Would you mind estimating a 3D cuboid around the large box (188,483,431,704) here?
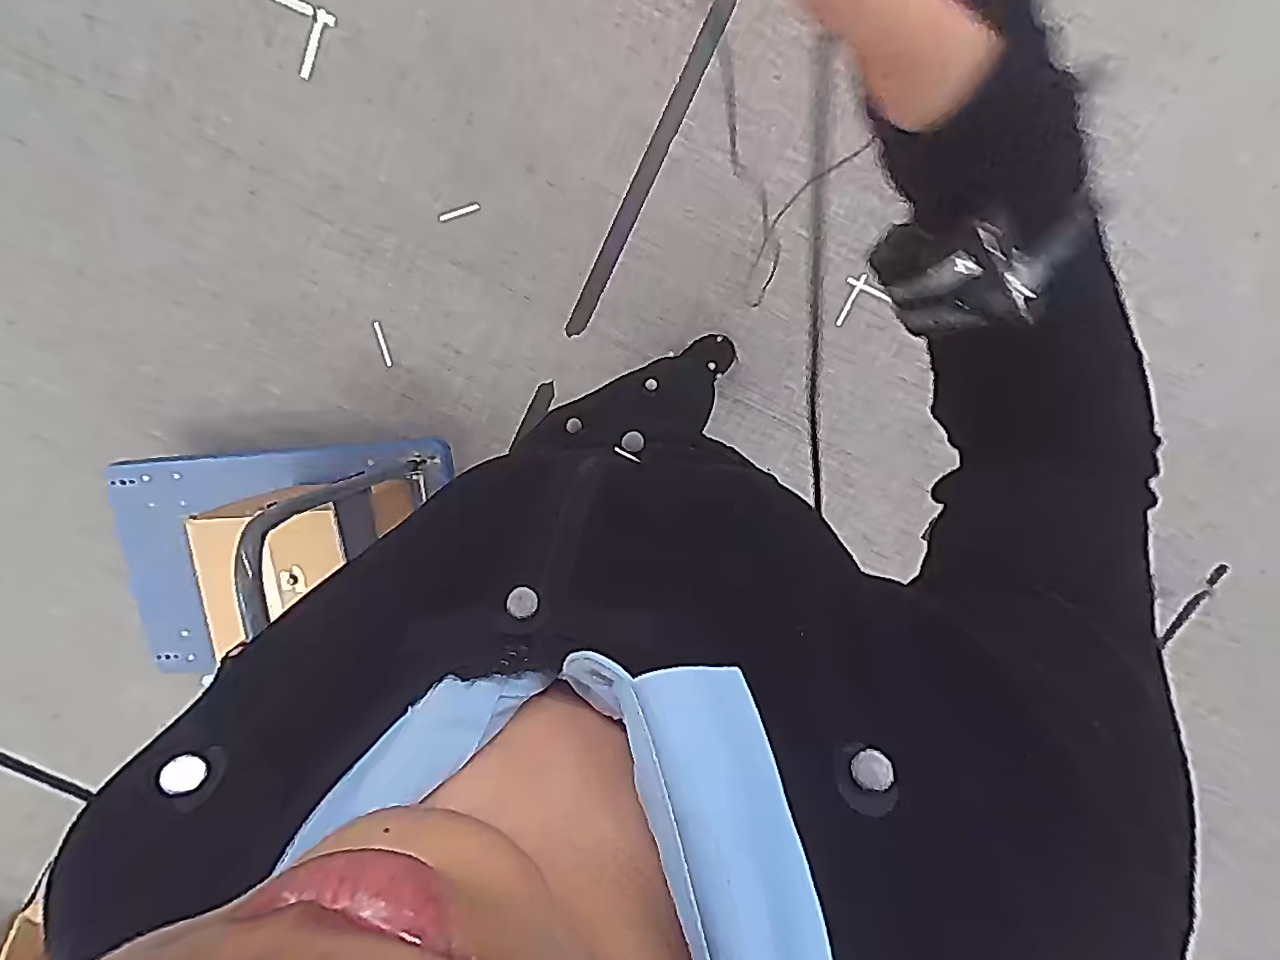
[{"bbox_3d":[-0.713,0.237,1.232,0.320,0.320,0.408,-4,100,2],"label":"large box"}]
